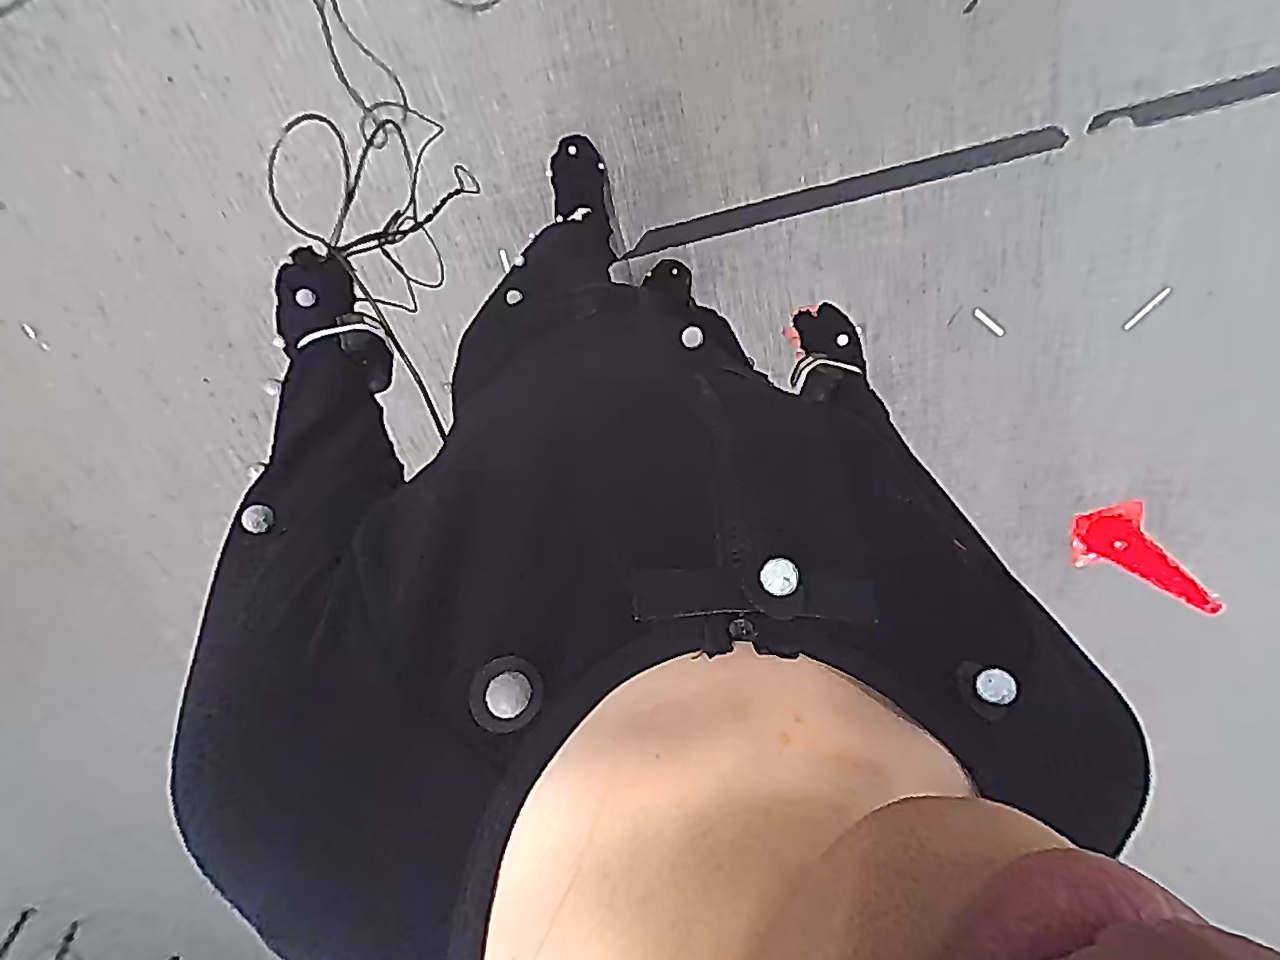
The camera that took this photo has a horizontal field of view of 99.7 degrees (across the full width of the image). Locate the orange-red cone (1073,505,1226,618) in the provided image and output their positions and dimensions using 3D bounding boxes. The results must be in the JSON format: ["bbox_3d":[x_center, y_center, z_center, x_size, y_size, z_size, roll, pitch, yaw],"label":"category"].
[{"bbox_3d":[1.453,0.253,1.516,0.199,0.360,0.198,-17,116,6],"label":"orange-red cone"}]
